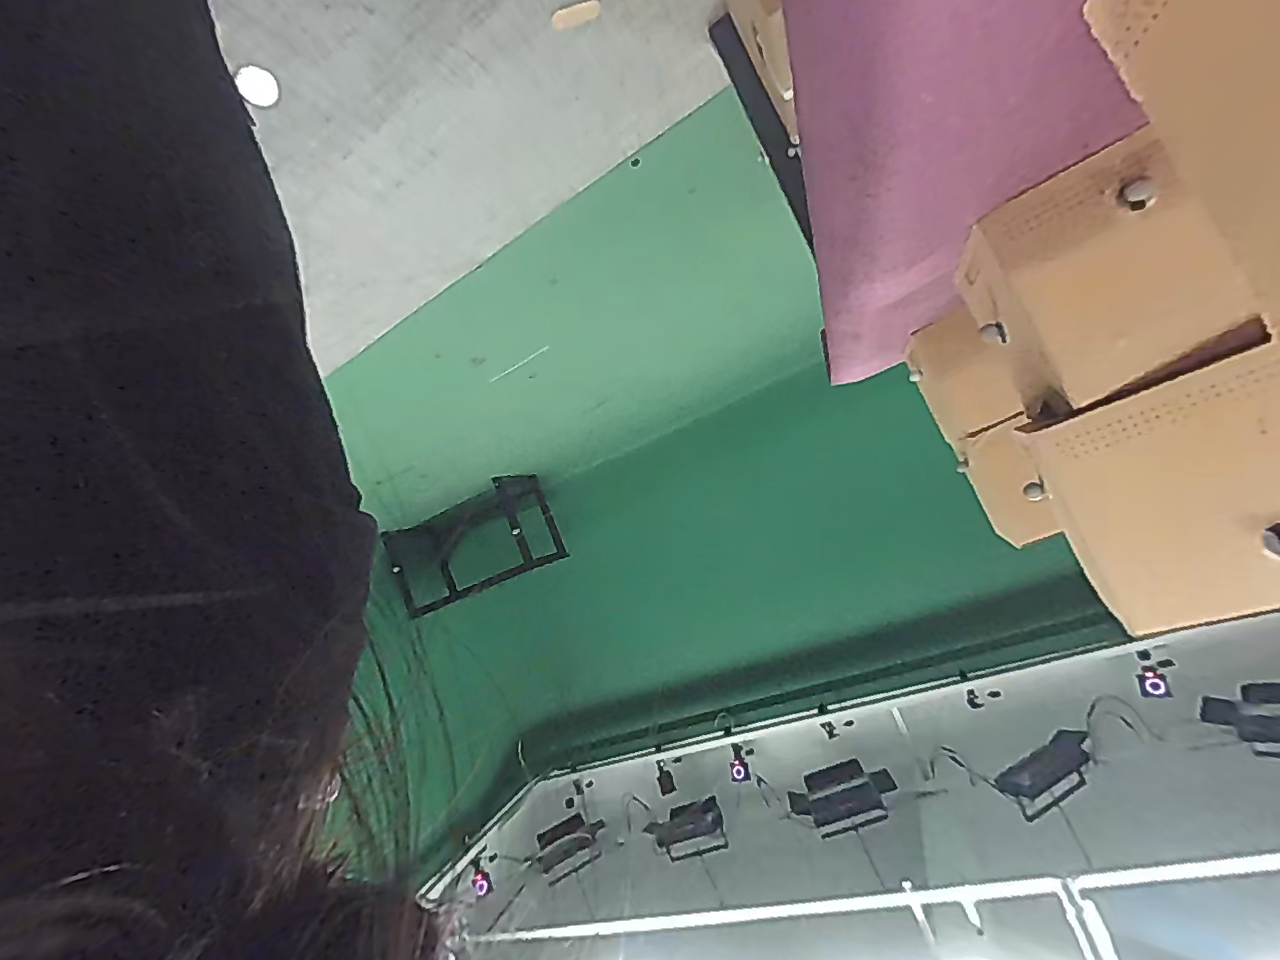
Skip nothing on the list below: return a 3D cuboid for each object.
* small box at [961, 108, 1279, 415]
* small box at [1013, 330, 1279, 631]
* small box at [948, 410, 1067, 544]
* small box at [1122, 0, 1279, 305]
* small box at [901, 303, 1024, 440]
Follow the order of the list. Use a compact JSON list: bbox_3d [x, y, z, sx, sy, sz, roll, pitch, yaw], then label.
[{"bbox_3d":[0.394,-0.169,0.442,0.179,0.176,0.168,-26,173,24],"label":"small box"},{"bbox_3d":[0.435,-0.008,0.425,0.179,0.176,0.168,-27,172,30],"label":"small box"},{"bbox_3d":[0.581,-0.026,0.778,0.179,0.176,0.168,-26,171,22],"label":"small box"},{"bbox_3d":[0.266,-0.158,0.110,0.179,0.176,0.168,-24,174,19],"label":"small box"},{"bbox_3d":[0.519,-0.174,0.803,0.179,0.176,0.168,-25,172,20],"label":"small box"}]
